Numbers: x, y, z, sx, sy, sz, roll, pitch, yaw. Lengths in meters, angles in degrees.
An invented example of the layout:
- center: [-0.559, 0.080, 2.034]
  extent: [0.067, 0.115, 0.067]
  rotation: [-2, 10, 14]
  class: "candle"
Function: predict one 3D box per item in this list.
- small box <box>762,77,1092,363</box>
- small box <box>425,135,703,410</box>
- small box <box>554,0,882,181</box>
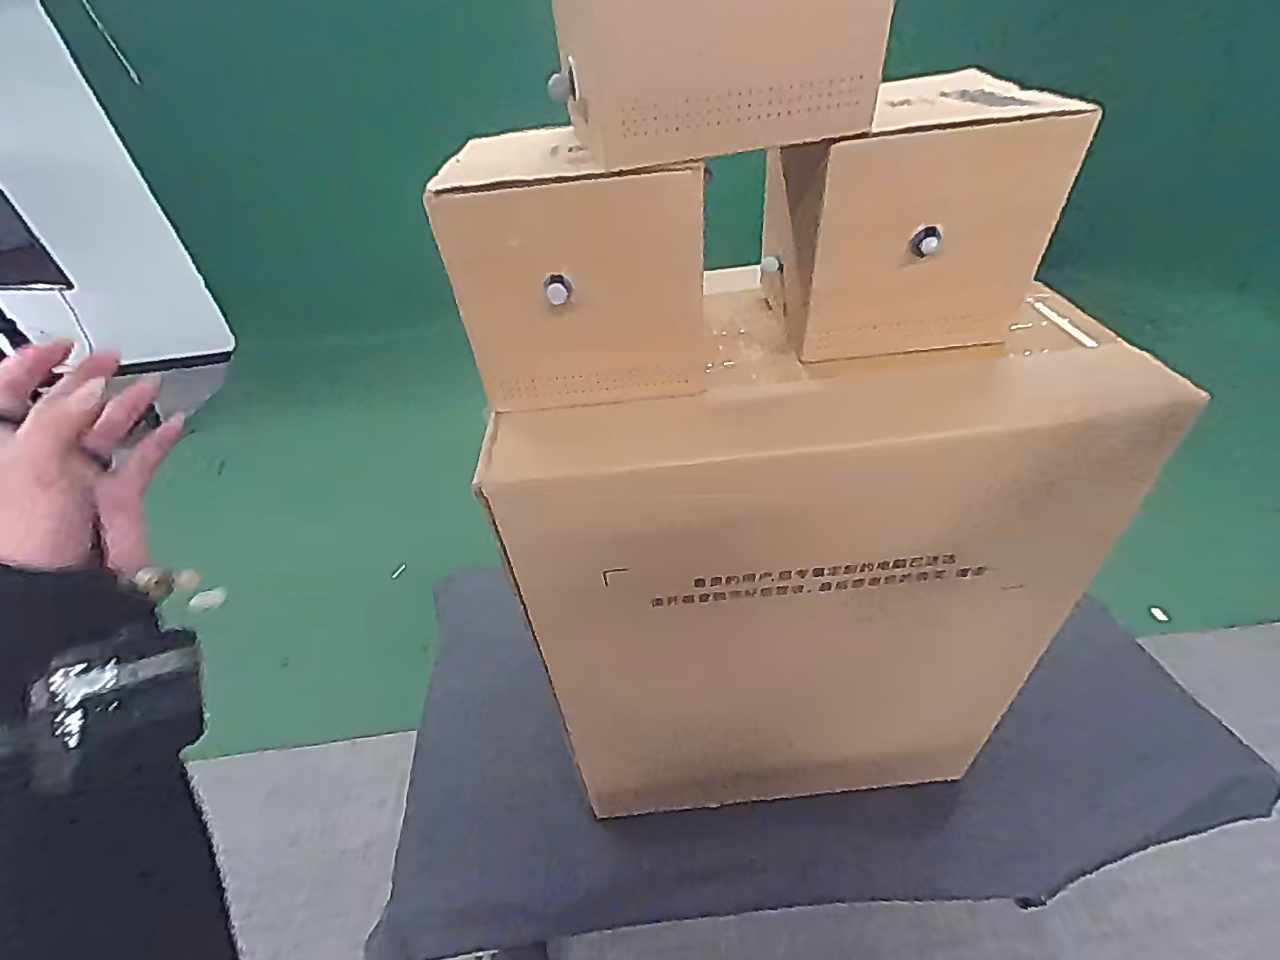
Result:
- center: [0.209, -0.218, 0.459]
  extent: [0.179, 0.176, 0.168]
  rotation: [-6, 43, 2]
  class: "small box"
- center: [-0.045, -0.172, 0.446]
  extent: [0.179, 0.176, 0.168]
  rotation: [-5, 43, 1]
  class: "small box"
- center: [0.038, -0.308, 0.341]
  extent: [0.179, 0.176, 0.168]
  rotation: [-14, 41, -6]
  class: "small box"
